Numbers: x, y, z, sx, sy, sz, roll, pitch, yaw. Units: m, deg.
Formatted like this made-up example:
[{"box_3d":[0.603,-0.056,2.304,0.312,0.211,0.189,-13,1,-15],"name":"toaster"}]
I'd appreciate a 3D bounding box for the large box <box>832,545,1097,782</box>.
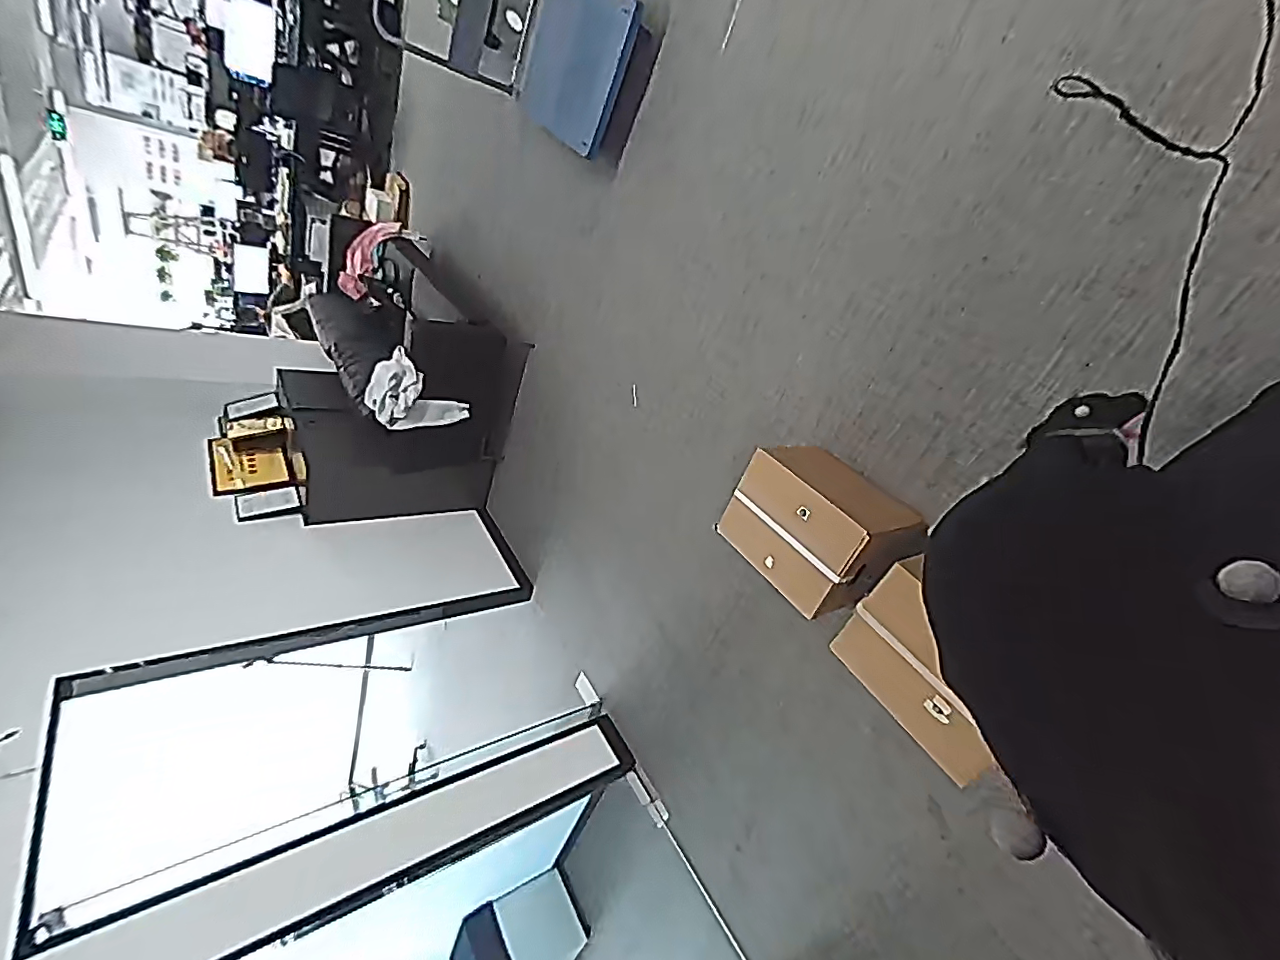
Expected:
[{"box_3d":[0.771,0.413,1.316,0.408,0.320,0.320,47,127,35],"name":"large box"}]
